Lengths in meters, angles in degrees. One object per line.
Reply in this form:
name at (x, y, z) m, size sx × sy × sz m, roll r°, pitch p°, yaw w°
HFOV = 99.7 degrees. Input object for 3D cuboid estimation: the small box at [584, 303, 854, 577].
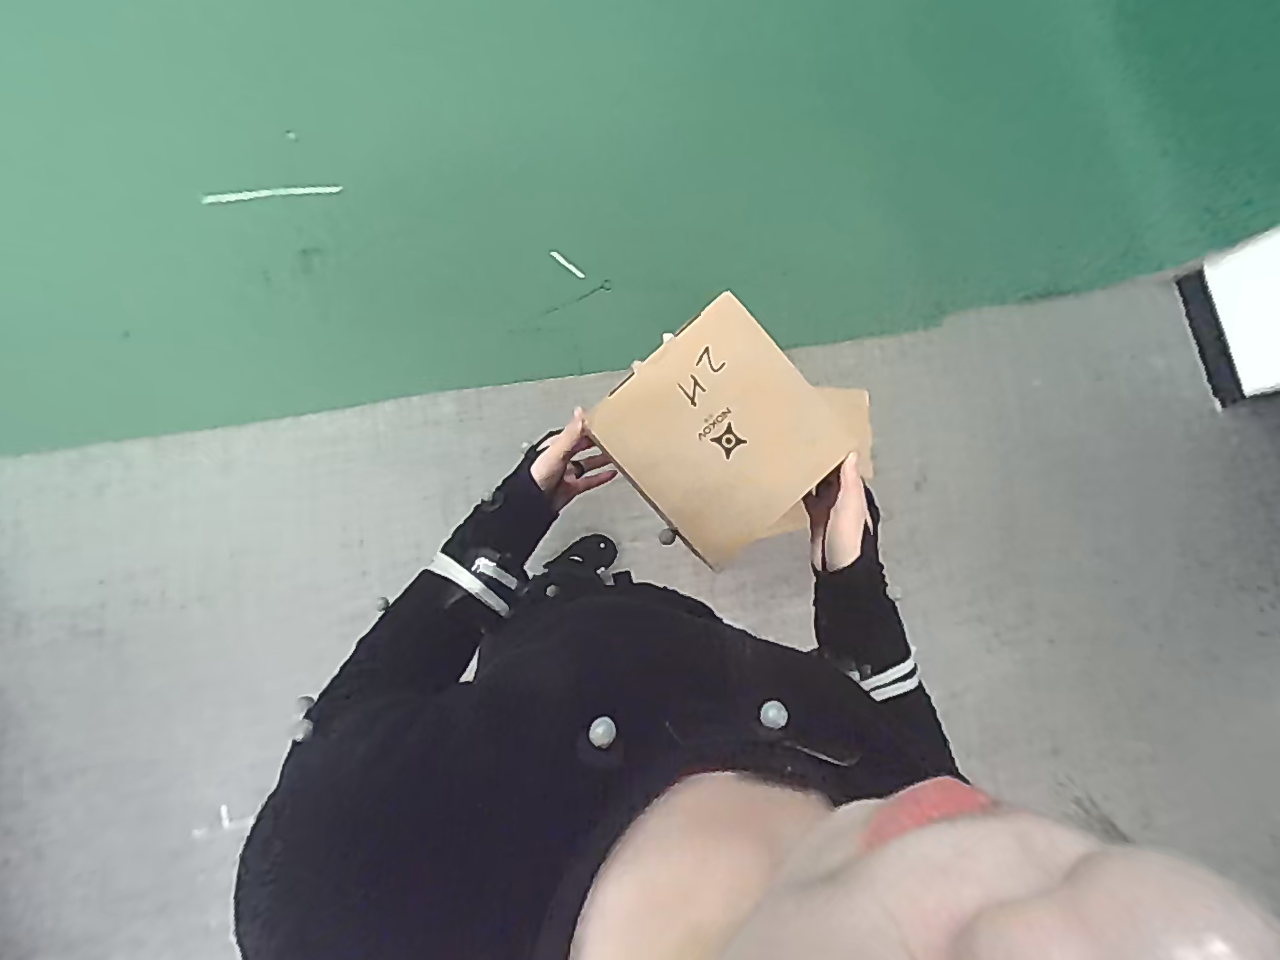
small box at (0.064, -0.036, 0.534) m, size 0.168 × 0.176 × 0.179 m, roll -43°, pitch 94°, yaw -2°

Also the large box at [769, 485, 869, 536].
large box at (0.313, -0.008, 1.441) m, size 0.408 × 0.320 × 0.320 m, roll -11°, pitch 83°, yaw -10°

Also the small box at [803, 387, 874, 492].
small box at (0.323, -0.070, 1.038) m, size 0.179 × 0.176 × 0.168 m, roll 3°, pitch 80°, yaw -6°
